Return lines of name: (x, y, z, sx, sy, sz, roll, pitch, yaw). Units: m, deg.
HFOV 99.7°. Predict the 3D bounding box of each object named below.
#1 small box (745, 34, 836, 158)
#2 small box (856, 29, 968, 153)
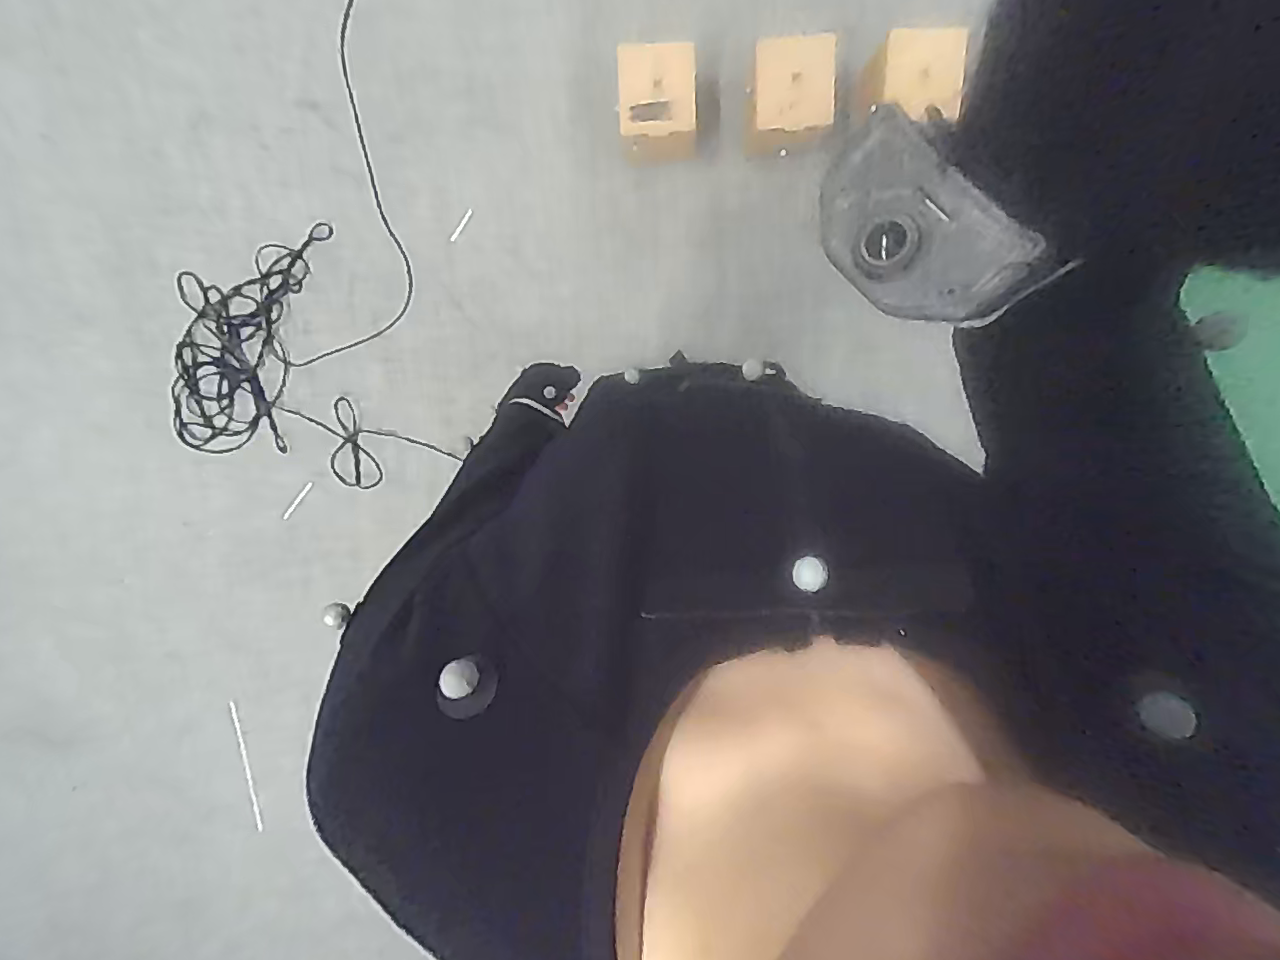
small box: (0.332, -0.857, 1.219, 0.168, 0.176, 0.179, -1, 102, 3)
small box: (0.600, -0.864, 1.213, 0.168, 0.176, 0.179, 0, 102, 1)
